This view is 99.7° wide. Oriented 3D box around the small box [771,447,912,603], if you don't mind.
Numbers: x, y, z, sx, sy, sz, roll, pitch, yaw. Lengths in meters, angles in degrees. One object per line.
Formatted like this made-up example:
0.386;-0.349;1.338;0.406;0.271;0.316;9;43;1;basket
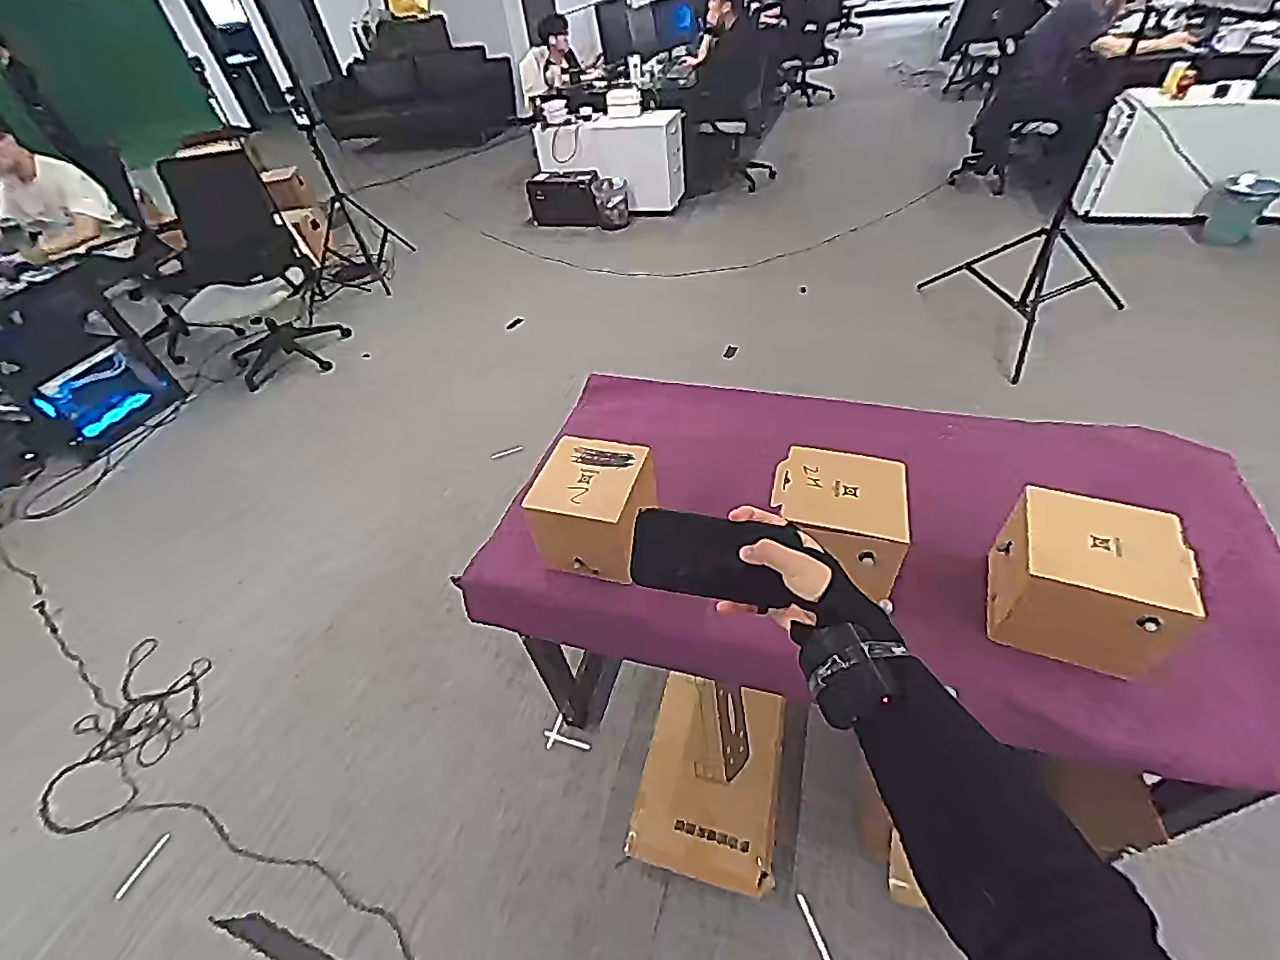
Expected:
0.310;0.072;0.850;0.179;0.176;0.168;8;45;16;small box

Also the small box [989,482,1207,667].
0.606;0.131;0.747;0.179;0.176;0.168;14;49;21;small box
